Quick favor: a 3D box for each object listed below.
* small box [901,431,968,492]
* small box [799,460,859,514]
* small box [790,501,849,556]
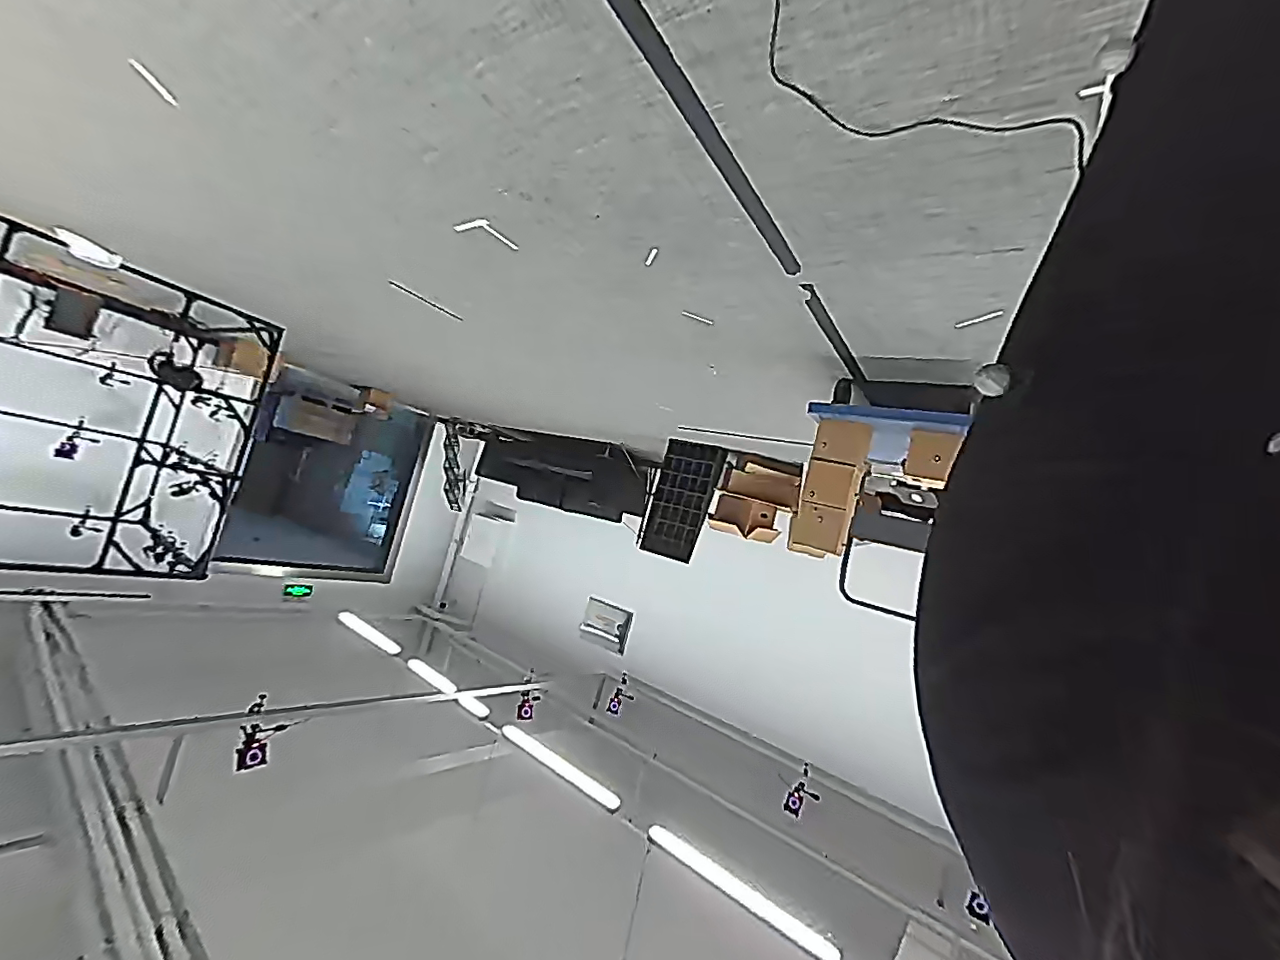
[{"bbox_3d":[1.050,-0.069,1.925,0.179,0.176,0.168,12,176,32],"label":"small box"},{"bbox_3d":[0.737,0.025,2.088,0.179,0.176,0.168,14,177,31],"label":"small box"},{"bbox_3d":[0.695,0.185,2.082,0.168,0.176,0.179,13,176,29],"label":"small box"}]
